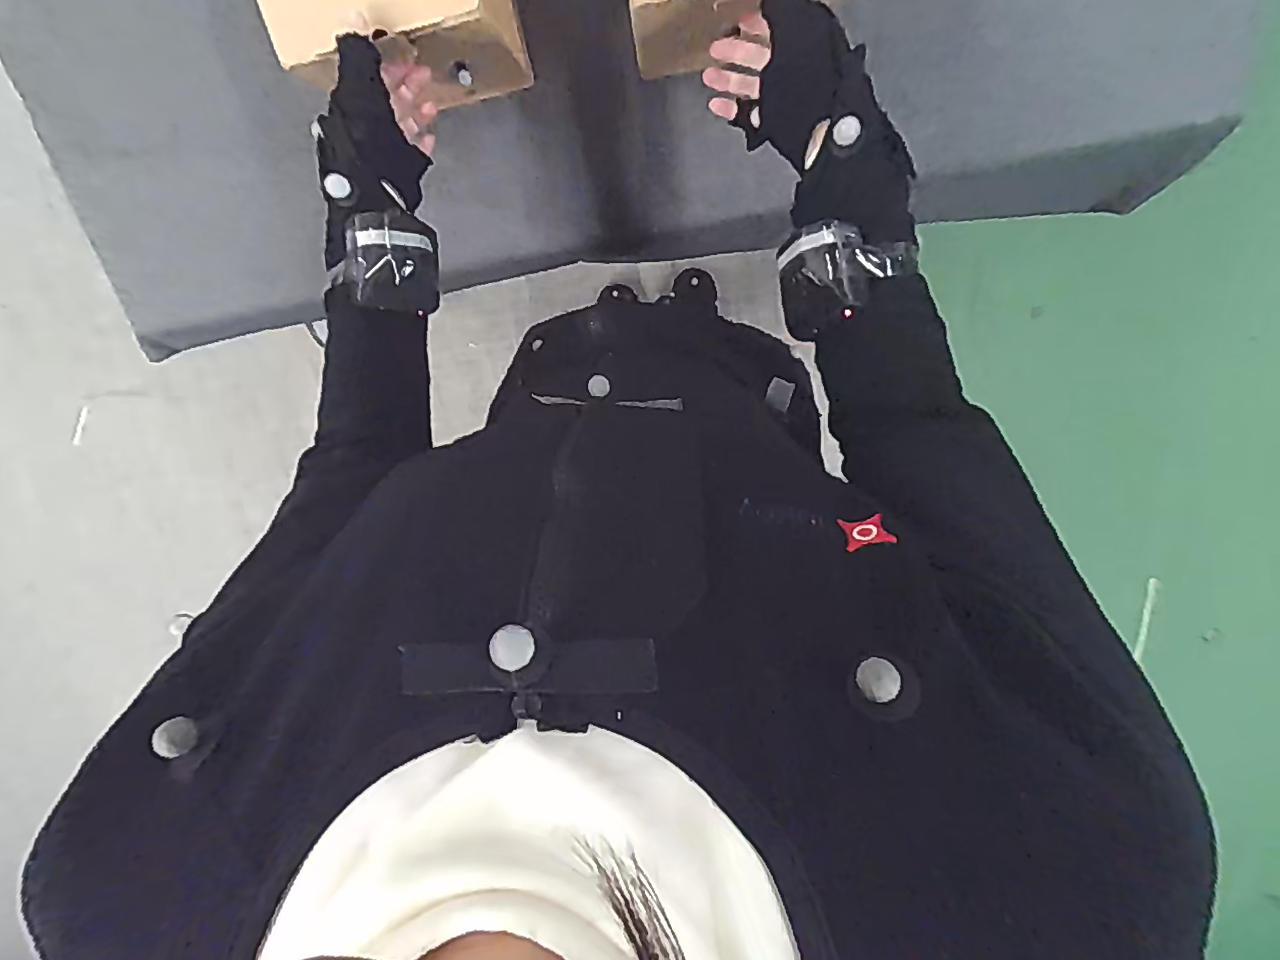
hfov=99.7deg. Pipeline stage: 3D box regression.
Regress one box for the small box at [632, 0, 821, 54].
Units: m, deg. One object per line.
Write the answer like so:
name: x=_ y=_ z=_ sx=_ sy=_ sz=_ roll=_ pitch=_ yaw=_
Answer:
small box: x=0.067 y=-0.468 z=0.423 sx=0.168 sy=0.176 sz=0.179 roll=-7 pitch=112 yaw=6

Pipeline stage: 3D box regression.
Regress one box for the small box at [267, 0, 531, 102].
small box: x=-0.204 y=-0.446 z=0.451 sx=0.168 sy=0.176 sz=0.179 roll=-10 pitch=109 yaw=6
